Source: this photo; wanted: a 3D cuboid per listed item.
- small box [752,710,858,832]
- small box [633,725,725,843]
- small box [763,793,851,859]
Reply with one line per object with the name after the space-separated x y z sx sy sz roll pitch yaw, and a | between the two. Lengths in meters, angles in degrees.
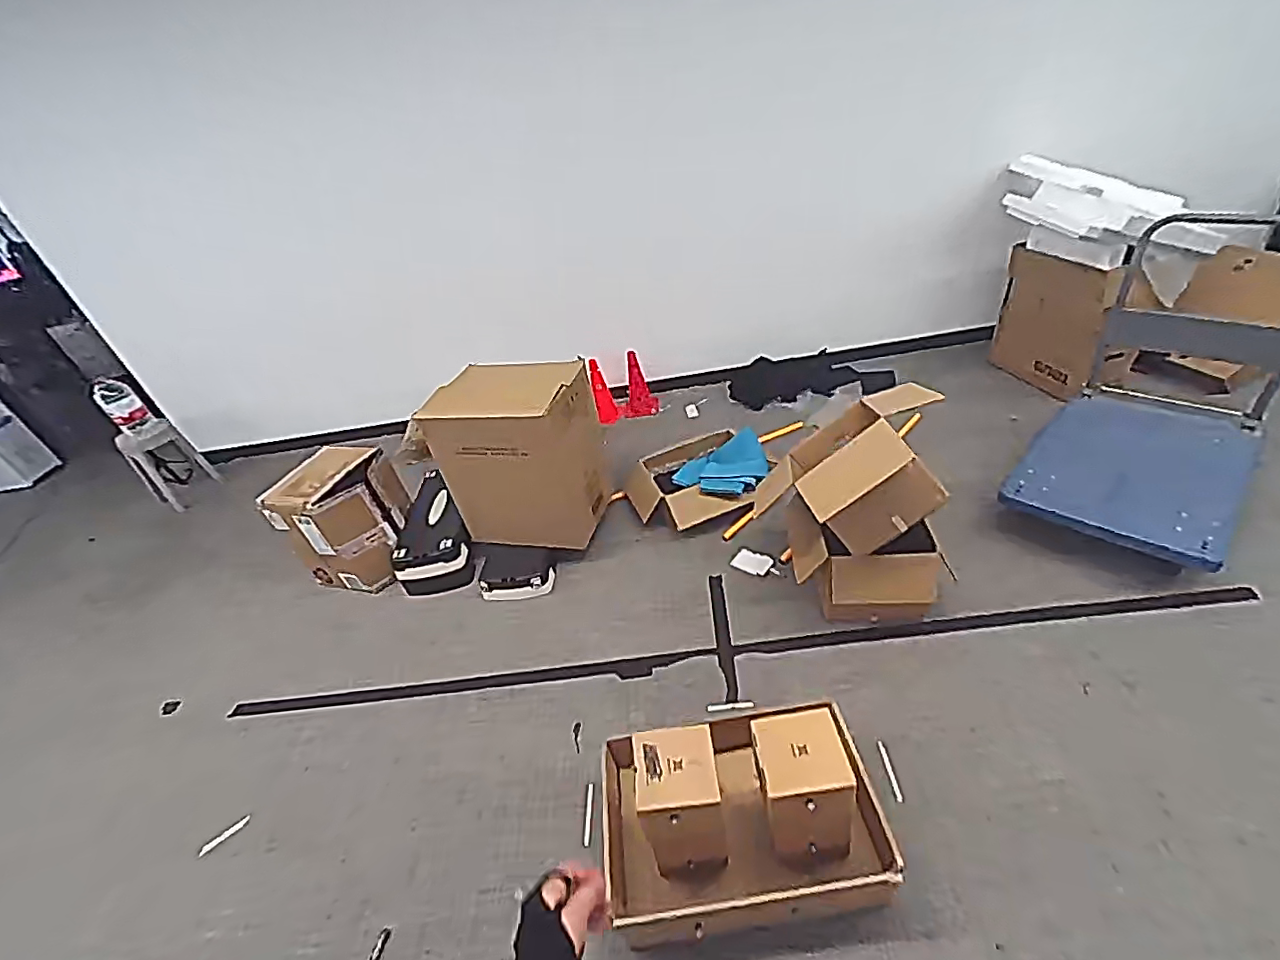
0.350 0.629 1.167 0.179 0.176 0.168 -11 36 3 | small box
0.085 0.669 1.186 0.179 0.176 0.168 -8 36 2 | small box
0.381 0.757 1.263 0.168 0.176 0.179 -10 35 3 | small box
